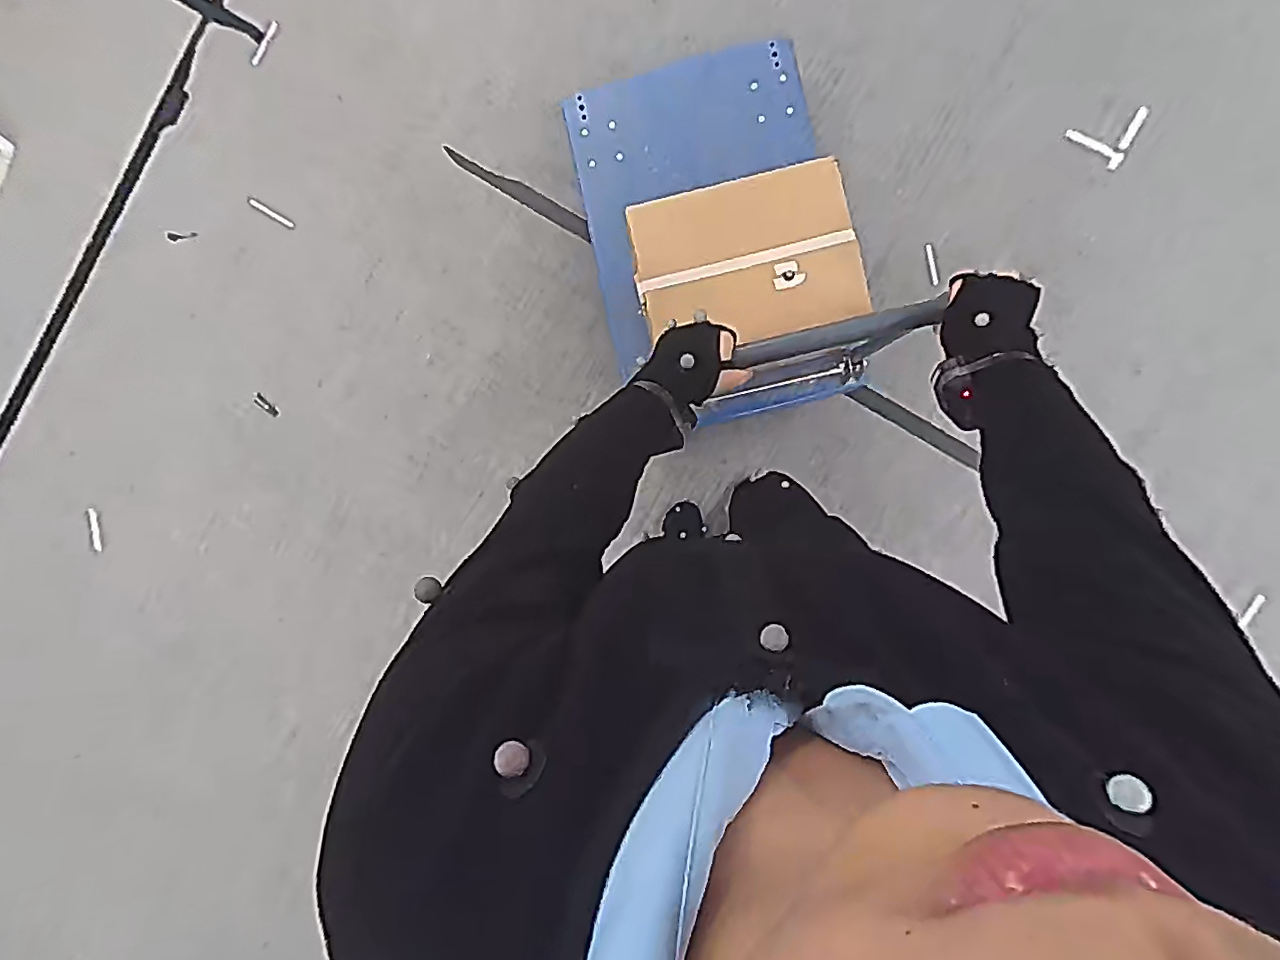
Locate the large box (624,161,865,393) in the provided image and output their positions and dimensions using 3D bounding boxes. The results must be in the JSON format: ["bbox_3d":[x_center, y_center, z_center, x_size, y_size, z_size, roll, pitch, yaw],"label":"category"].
[{"bbox_3d":[0.201,-0.403,1.164,0.408,0.320,0.320,-13,90,2],"label":"large box"}]
